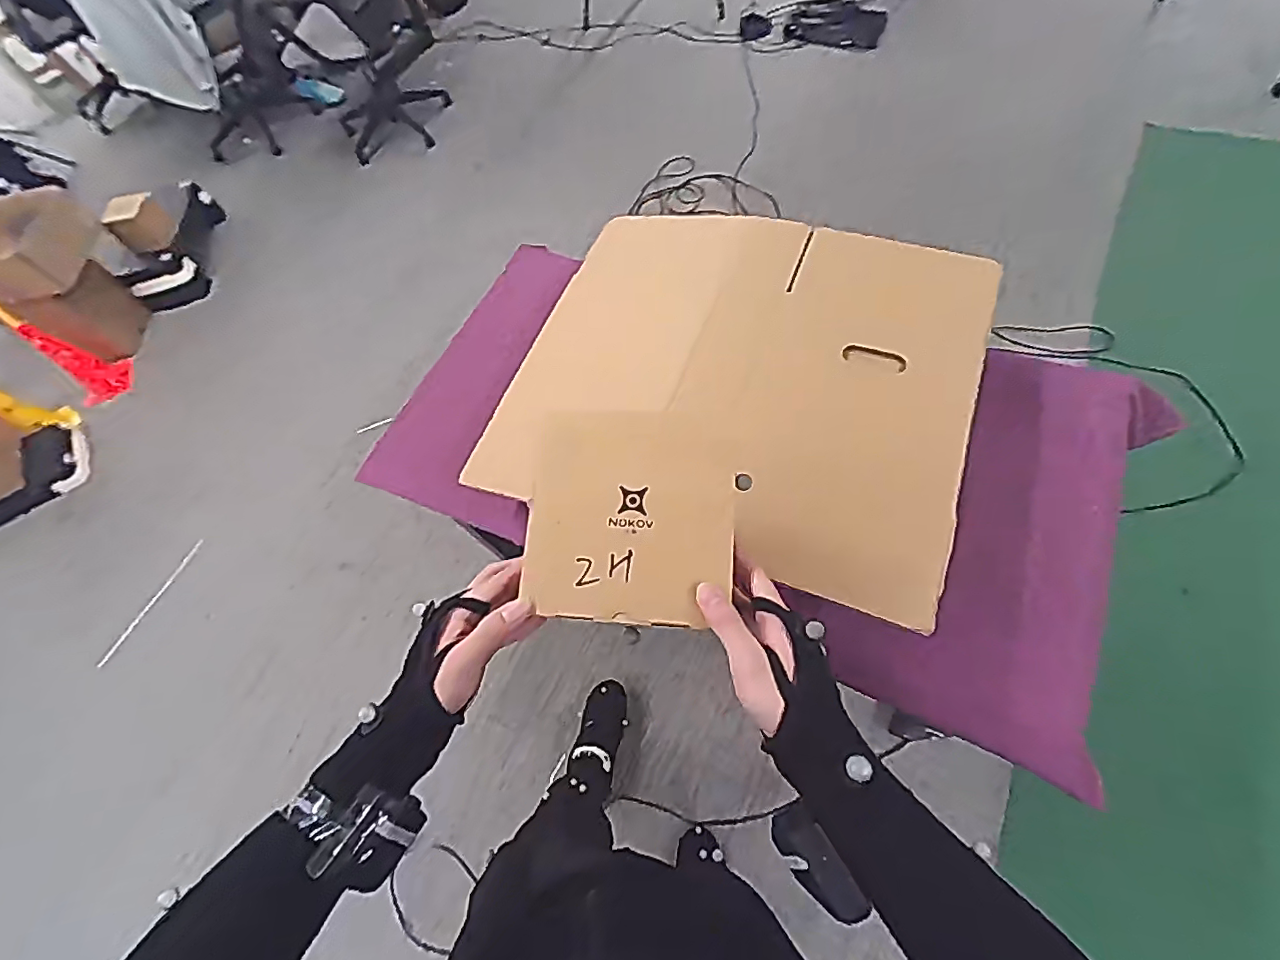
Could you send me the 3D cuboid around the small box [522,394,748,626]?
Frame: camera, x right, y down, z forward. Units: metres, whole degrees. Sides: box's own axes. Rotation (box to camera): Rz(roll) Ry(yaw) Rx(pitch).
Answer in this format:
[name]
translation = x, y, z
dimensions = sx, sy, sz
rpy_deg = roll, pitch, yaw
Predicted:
[small box]
translation = 0.004, 0.038, 0.505
dimensions = 0.168, 0.176, 0.179
rpy_deg = 4, 75, 6
